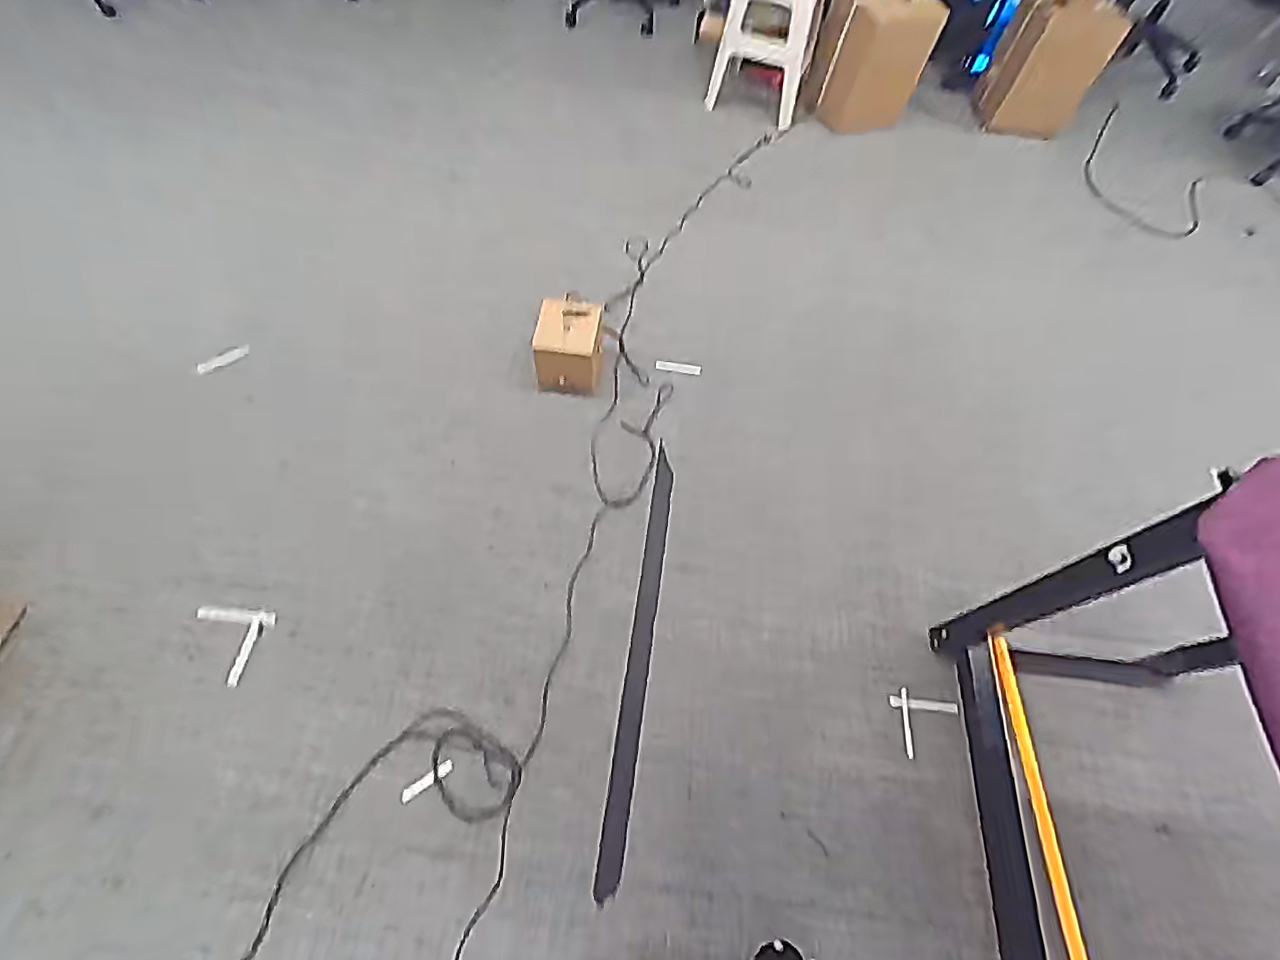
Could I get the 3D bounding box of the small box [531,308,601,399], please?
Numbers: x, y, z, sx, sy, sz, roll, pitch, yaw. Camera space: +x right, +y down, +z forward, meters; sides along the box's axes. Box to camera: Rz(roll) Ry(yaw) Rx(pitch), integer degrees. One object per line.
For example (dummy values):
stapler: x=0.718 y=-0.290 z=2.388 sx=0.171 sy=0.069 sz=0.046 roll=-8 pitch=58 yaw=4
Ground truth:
small box: x=-0.206 y=-0.360 z=1.546 sx=0.168 sy=0.176 sz=0.179 roll=8 pitch=62 yaw=1
